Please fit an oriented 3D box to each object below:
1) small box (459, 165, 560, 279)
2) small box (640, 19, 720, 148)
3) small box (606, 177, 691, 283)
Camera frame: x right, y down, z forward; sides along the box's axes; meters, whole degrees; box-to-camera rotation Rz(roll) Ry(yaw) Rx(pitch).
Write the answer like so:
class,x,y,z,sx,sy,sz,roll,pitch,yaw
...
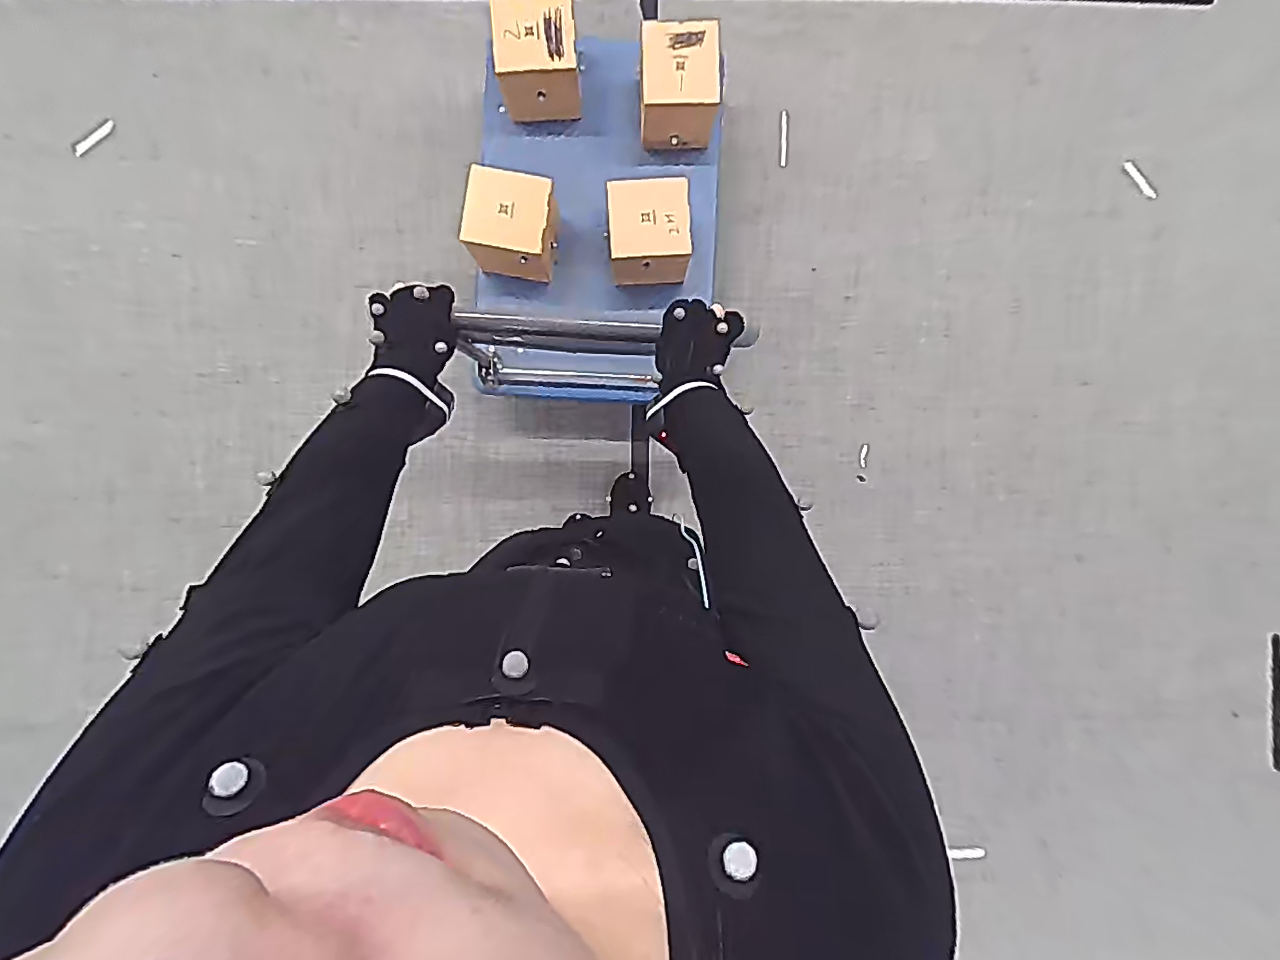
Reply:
class,x,y,z,sx,sy,sz,roll,pitch,yaw
small box,-0.286,-0.571,1.219,0.179,0.176,0.168,9,90,-3
small box,0.084,-0.888,1.222,0.168,0.176,0.179,-1,92,-1
small box,0.018,-0.558,1.225,0.179,0.176,0.168,-4,91,-1
